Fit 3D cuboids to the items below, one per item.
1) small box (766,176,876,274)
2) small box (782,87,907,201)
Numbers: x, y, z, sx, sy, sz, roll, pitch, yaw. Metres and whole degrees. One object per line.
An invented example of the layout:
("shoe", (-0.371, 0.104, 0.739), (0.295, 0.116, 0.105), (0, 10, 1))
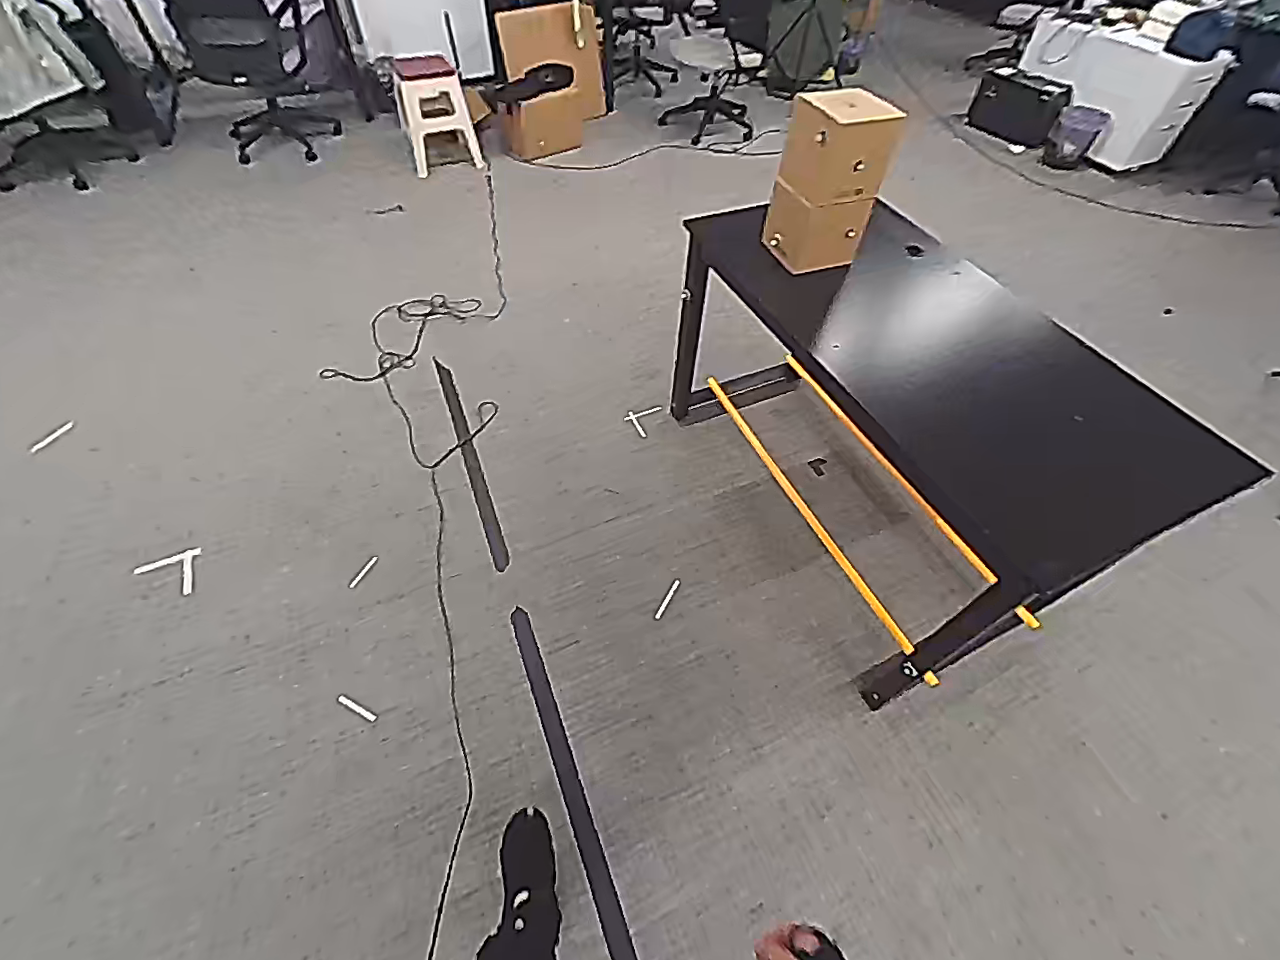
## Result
("small box", (0.434, -0.634, 1.327), (0.179, 0.176, 0.168), (-17, 54, -14))
("small box", (0.443, -0.740, 1.201), (0.168, 0.176, 0.179), (-16, 54, -15))
